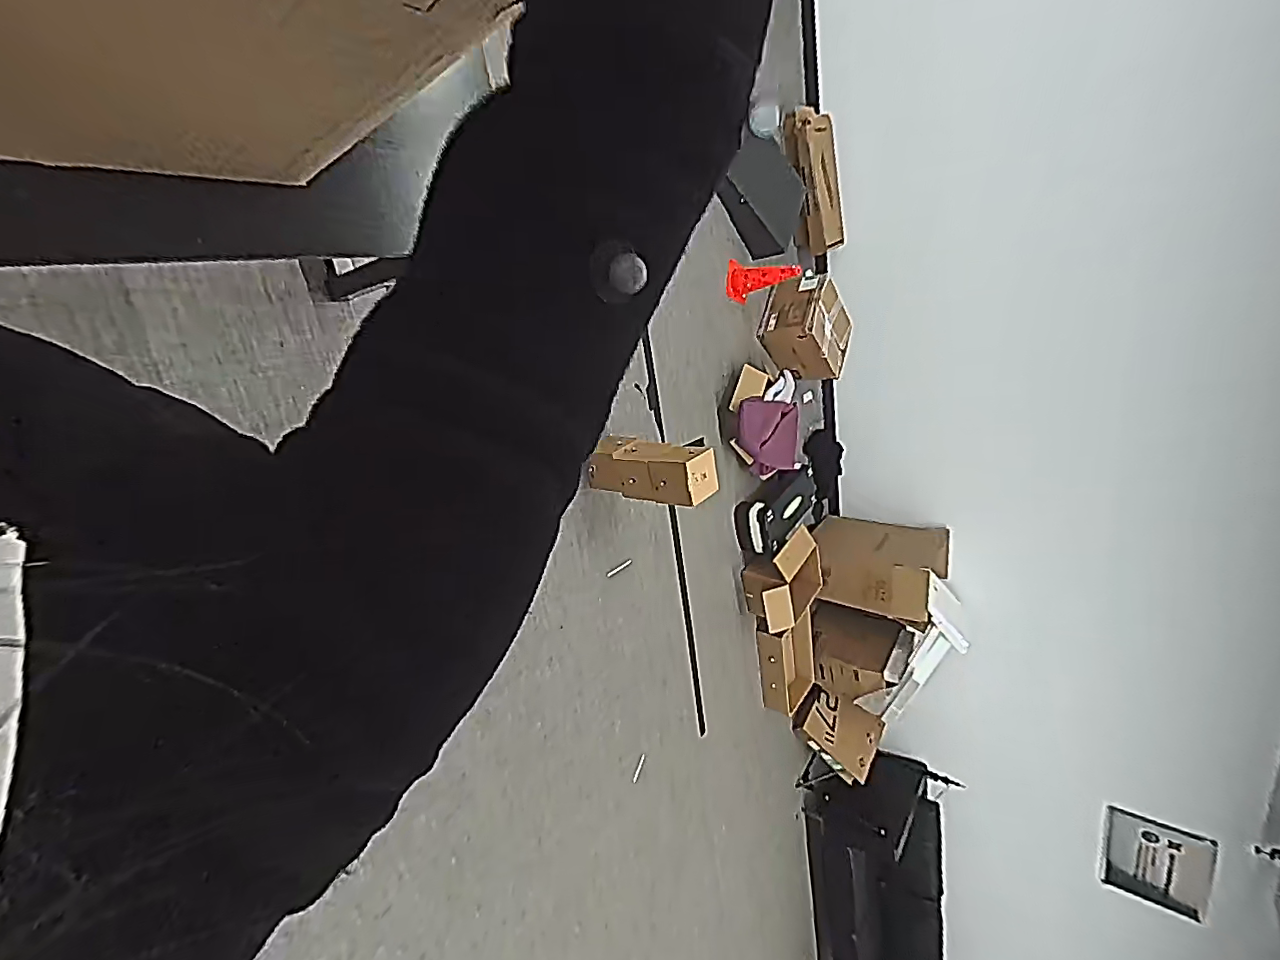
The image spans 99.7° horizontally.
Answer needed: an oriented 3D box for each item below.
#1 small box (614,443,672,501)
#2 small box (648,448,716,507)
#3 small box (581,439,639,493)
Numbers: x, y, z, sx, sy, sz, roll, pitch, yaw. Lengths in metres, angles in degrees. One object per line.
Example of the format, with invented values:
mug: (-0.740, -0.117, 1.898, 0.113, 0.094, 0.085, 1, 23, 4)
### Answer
small box: (0.021, -0.033, 2.054, 0.179, 0.176, 0.168, -35, 119, -42)
small box: (0.151, -0.016, 1.953, 0.179, 0.176, 0.168, -29, 115, -45)
small box: (-0.107, -0.062, 2.155, 0.179, 0.176, 0.168, -33, 118, -42)
